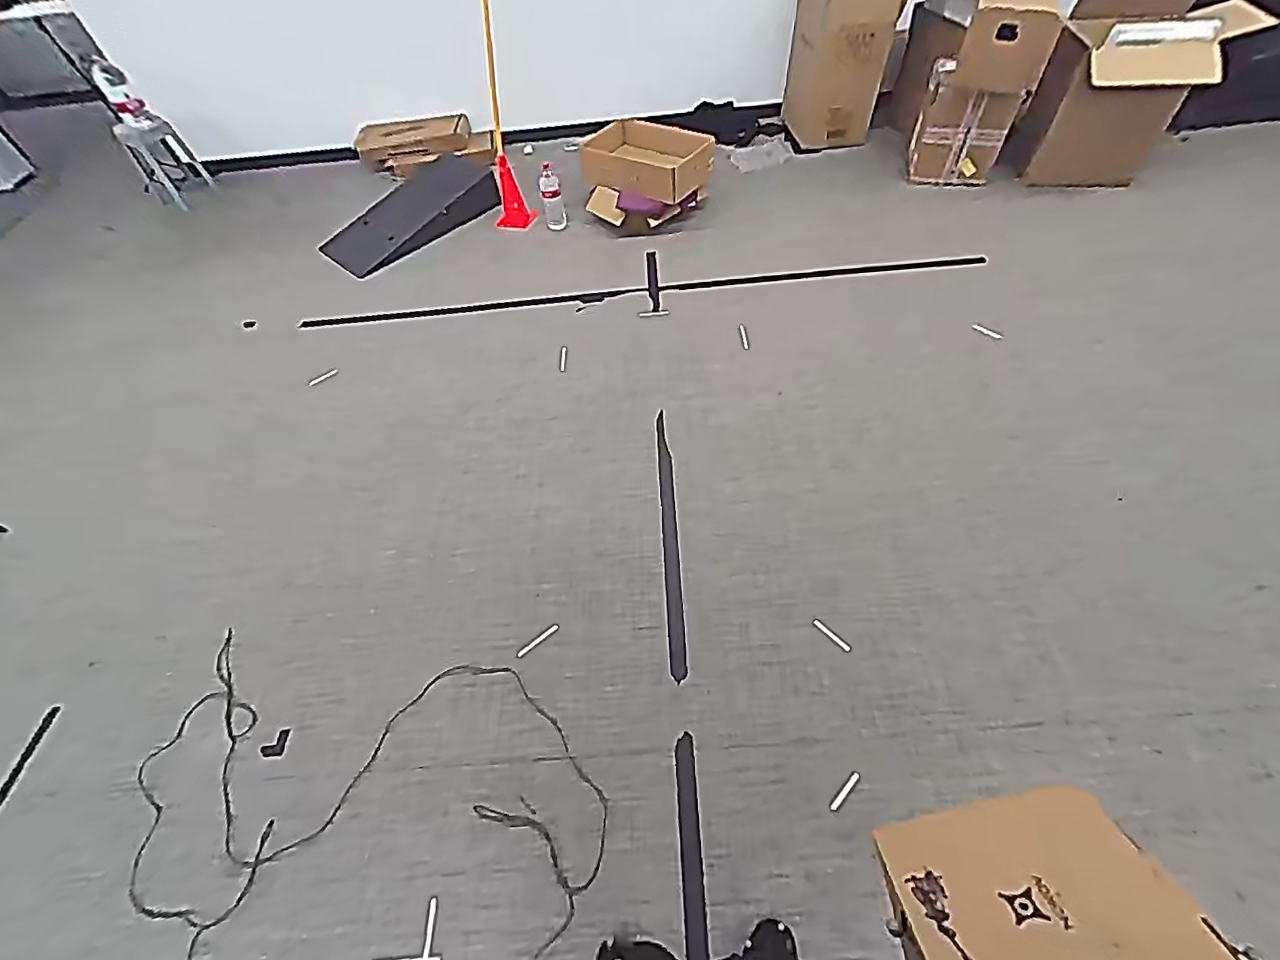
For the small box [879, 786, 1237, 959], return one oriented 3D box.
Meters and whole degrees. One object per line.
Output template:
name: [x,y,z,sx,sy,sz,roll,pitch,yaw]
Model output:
small box: [0.309,0.377,0.408,0.179,0.176,0.168,-17,14,7]
